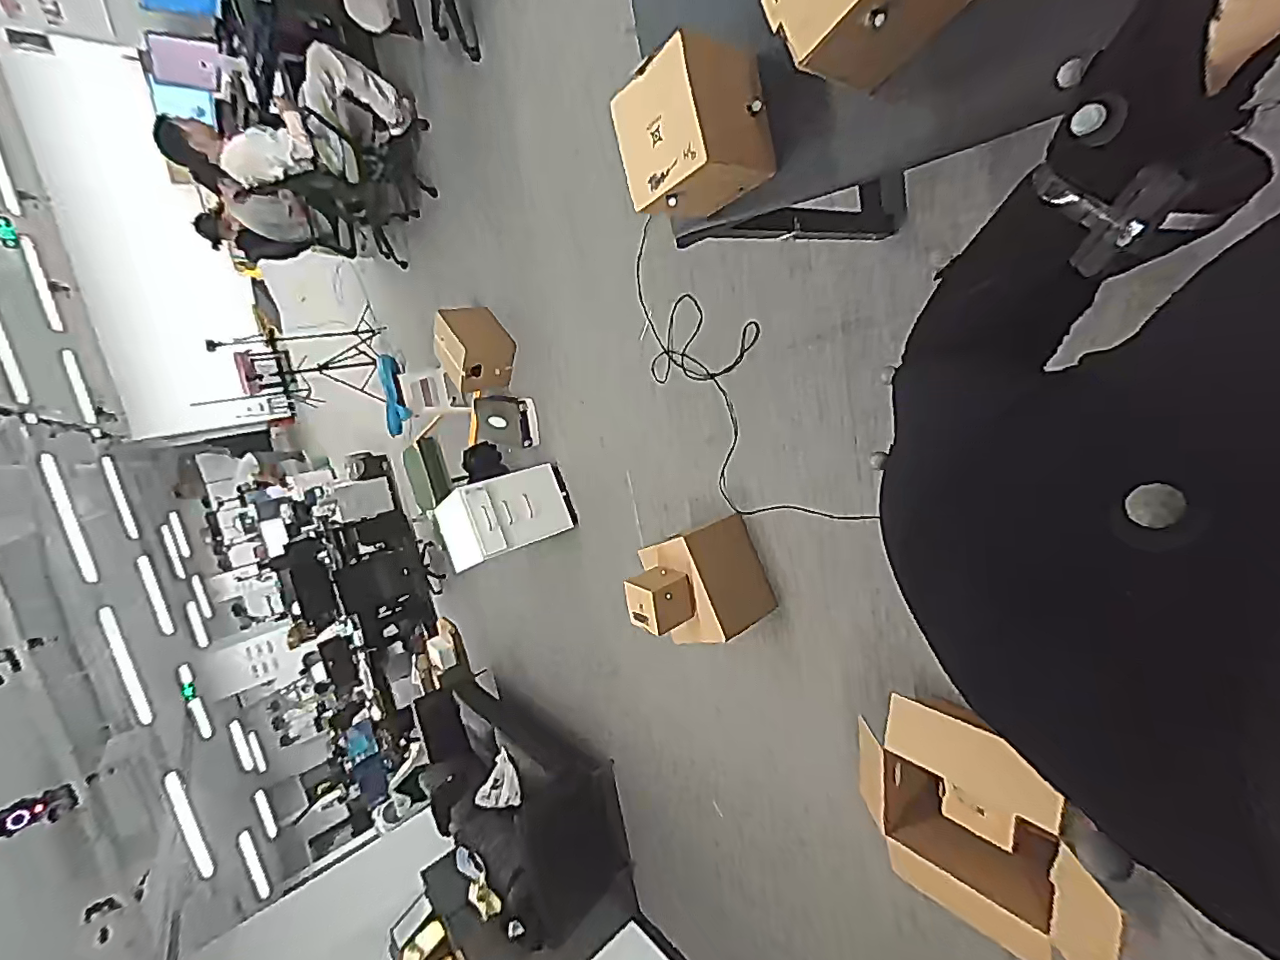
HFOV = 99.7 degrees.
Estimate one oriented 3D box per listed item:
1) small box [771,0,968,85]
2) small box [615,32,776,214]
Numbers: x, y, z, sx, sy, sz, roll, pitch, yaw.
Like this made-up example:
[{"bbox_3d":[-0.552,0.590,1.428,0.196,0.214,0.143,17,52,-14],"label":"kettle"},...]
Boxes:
[{"bbox_3d":[0.264,-0.596,0.613,0.179,0.176,0.168,-23,87,53],"label":"small box"},{"bbox_3d":[0.090,-0.545,0.856,0.168,0.176,0.179,-5,100,53],"label":"small box"}]
